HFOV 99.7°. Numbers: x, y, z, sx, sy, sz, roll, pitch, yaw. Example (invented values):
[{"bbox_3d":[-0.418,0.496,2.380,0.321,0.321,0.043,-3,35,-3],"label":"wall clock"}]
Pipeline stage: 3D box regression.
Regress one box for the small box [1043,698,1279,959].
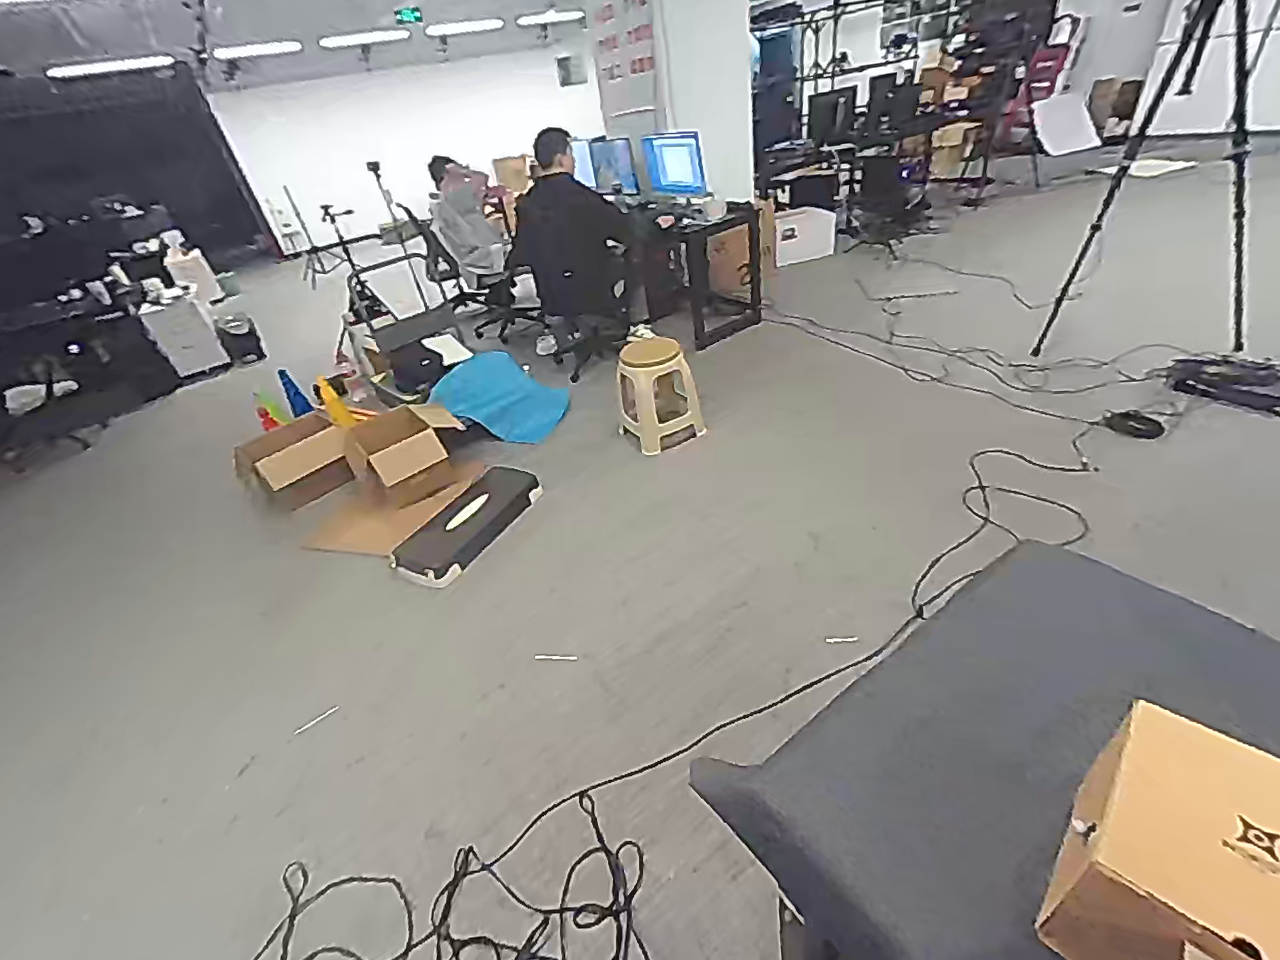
[{"bbox_3d":[0.470,0.332,0.449,0.168,0.176,0.179,23,48,38],"label":"small box"}]
